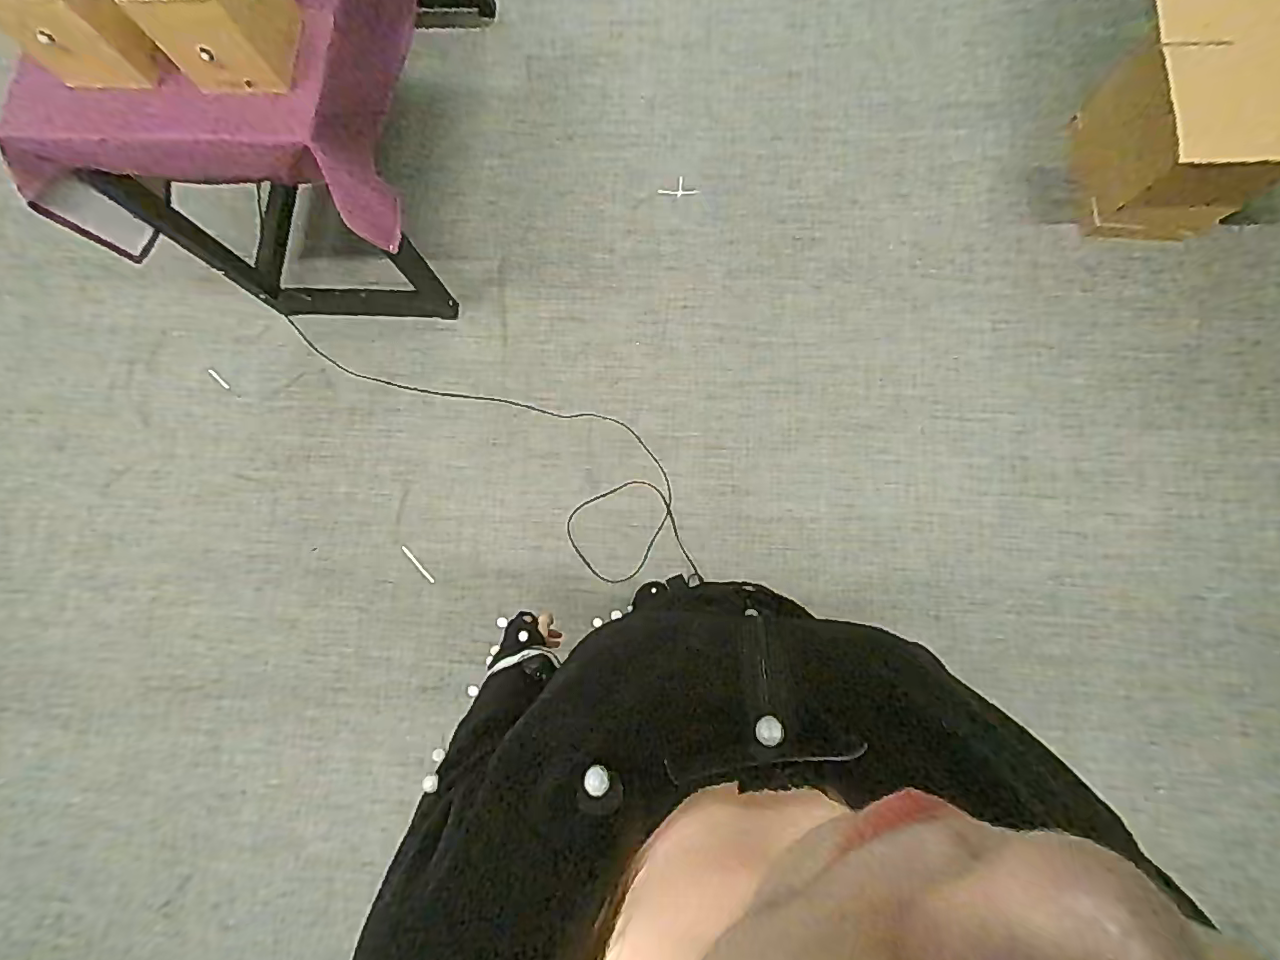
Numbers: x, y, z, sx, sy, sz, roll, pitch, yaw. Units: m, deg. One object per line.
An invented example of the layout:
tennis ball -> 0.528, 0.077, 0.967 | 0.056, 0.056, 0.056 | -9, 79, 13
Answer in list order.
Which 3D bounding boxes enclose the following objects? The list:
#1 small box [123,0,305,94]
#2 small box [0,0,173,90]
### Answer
small box -> -0.711, -0.801, 0.925 | 0.168, 0.176, 0.179 | 3, 80, 4
small box -> -0.968, -0.821, 0.944 | 0.179, 0.176, 0.168 | 4, 80, 4
